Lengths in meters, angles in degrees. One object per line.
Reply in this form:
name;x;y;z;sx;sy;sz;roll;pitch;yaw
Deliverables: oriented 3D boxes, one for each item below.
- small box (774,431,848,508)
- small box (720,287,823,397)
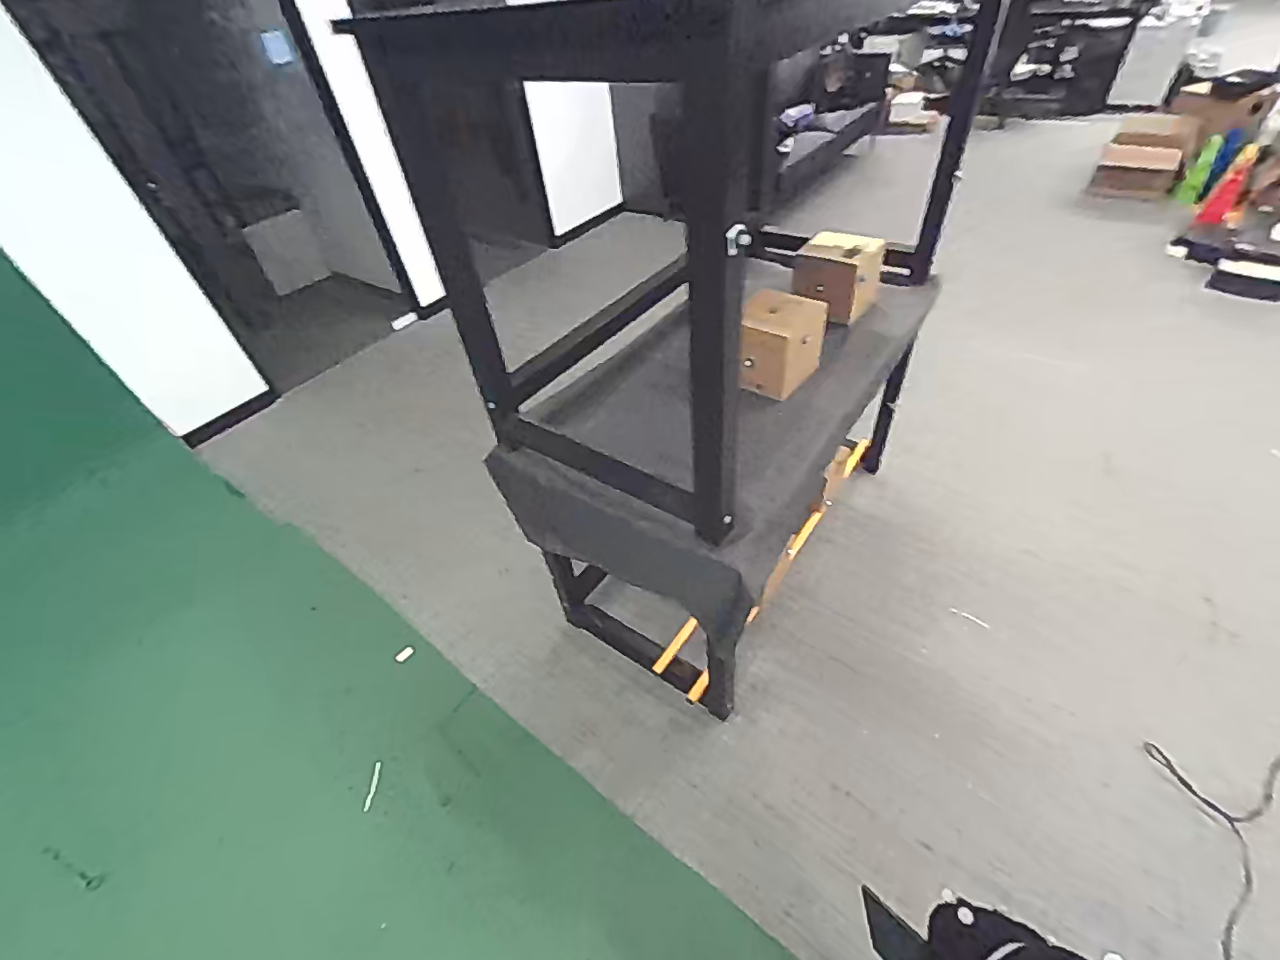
small box;0.570;-0.032;1.820;0.179;0.176;0.168;28;54;30
small box;0.303;-0.319;1.256;0.168;0.176;0.179;27;54;30
